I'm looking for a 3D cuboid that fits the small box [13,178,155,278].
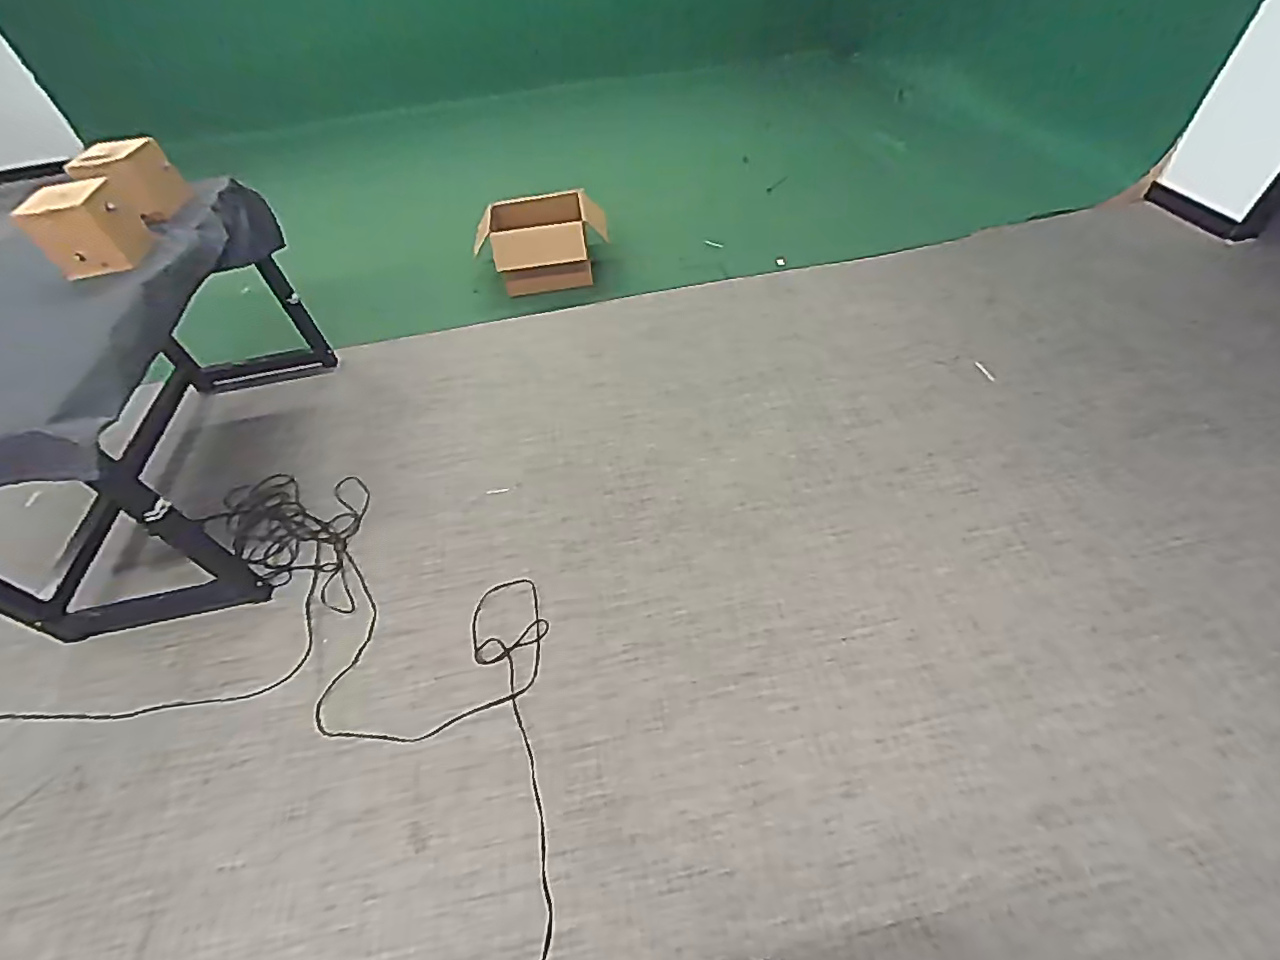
[{"bbox_3d":[-1.419,-0.651,1.400,0.168,0.176,0.179,-13,51,-5],"label":"small box"}]
